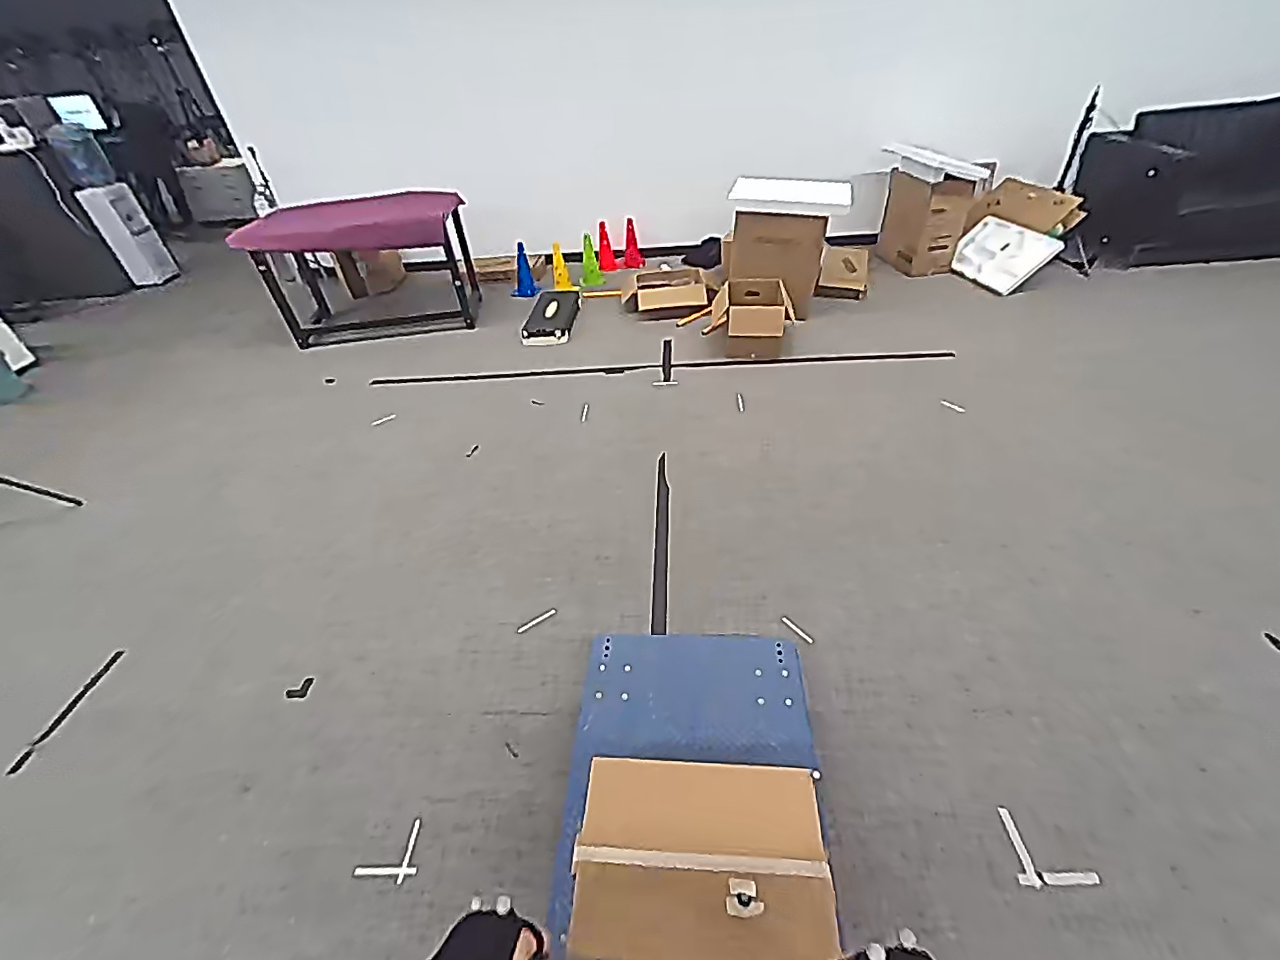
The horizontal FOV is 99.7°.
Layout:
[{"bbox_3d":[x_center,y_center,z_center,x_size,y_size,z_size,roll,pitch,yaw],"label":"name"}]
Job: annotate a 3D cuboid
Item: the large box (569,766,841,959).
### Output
[{"bbox_3d":[0.105,0.744,0.965,0.408,0.320,0.320,1,41,5],"label":"large box"}]
